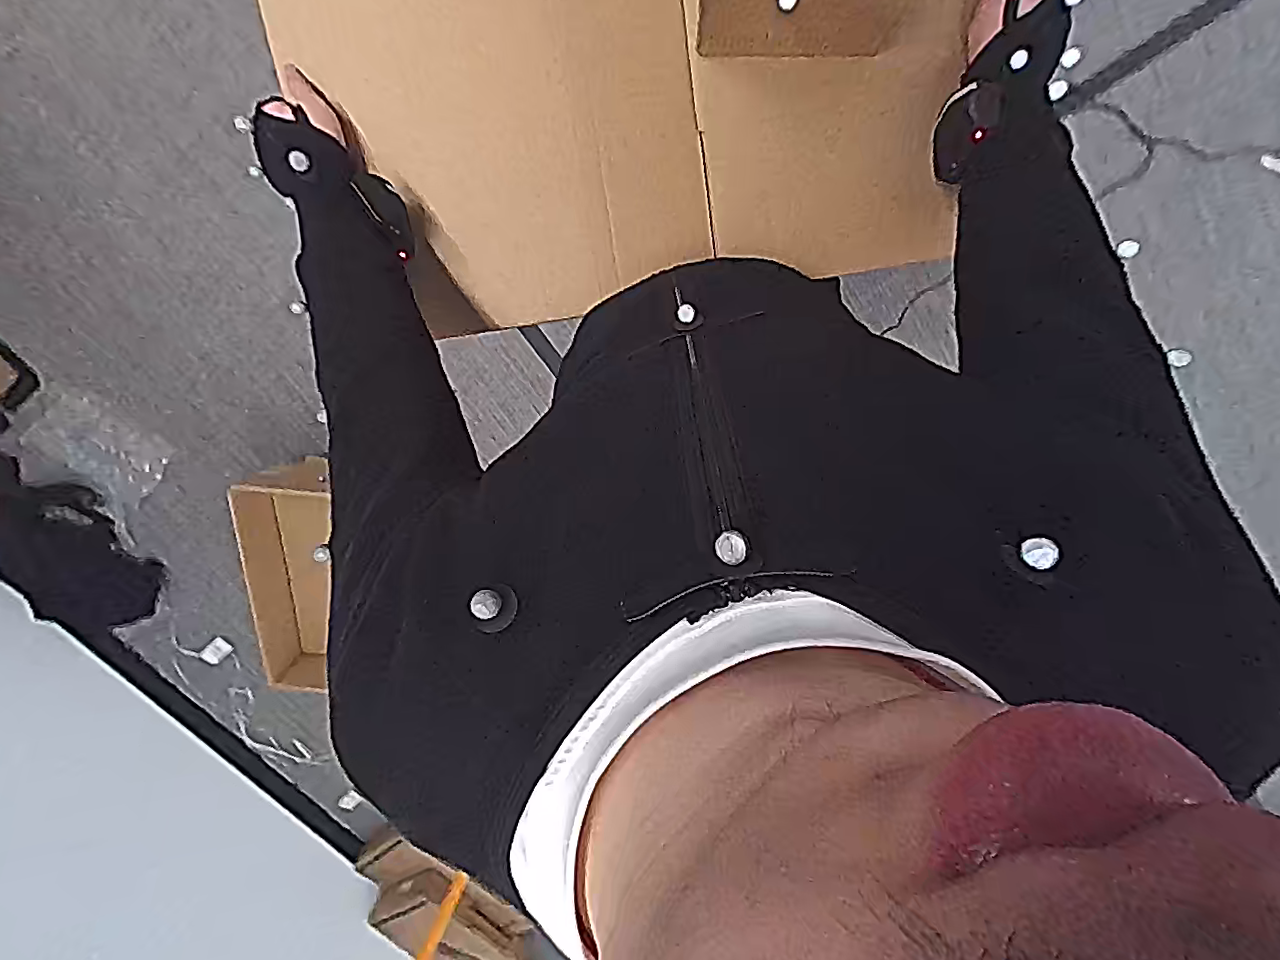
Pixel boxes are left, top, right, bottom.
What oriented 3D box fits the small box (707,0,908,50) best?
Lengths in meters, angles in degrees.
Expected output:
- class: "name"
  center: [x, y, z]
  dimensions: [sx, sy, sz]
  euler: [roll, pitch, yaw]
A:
- class: "small box"
  center: [0.146, -0.477, 0.428]
  dimensions: [0.179, 0.176, 0.168]
  euler: [4, 104, 4]
